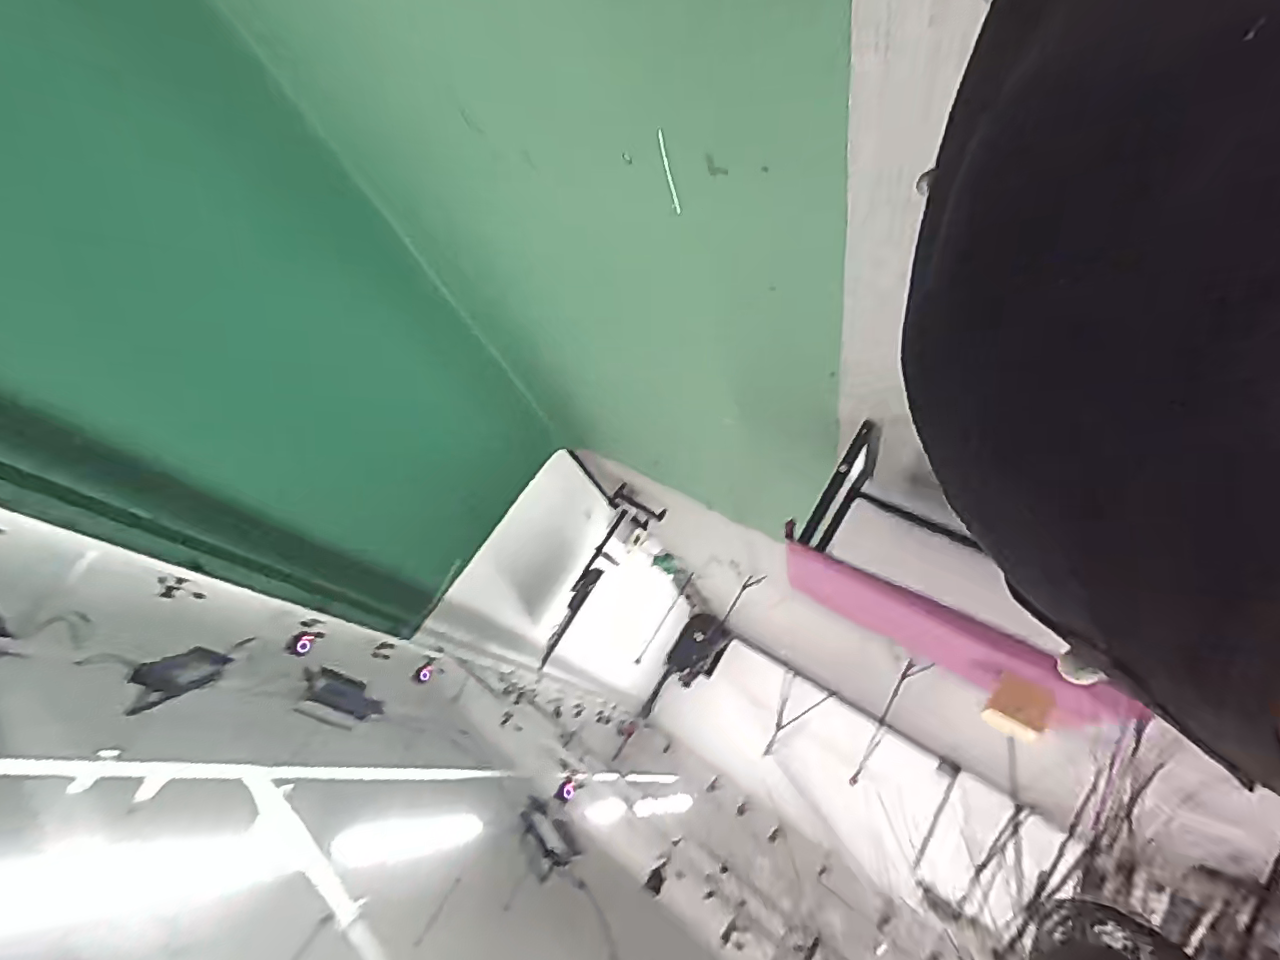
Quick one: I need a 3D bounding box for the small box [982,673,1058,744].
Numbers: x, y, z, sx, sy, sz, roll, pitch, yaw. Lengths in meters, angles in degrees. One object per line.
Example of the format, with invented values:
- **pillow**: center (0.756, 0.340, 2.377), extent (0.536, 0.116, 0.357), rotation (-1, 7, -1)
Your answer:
- **small box**: center (1.412, 0.847, 2.011), extent (0.179, 0.176, 0.168), rotation (26, 162, 33)
